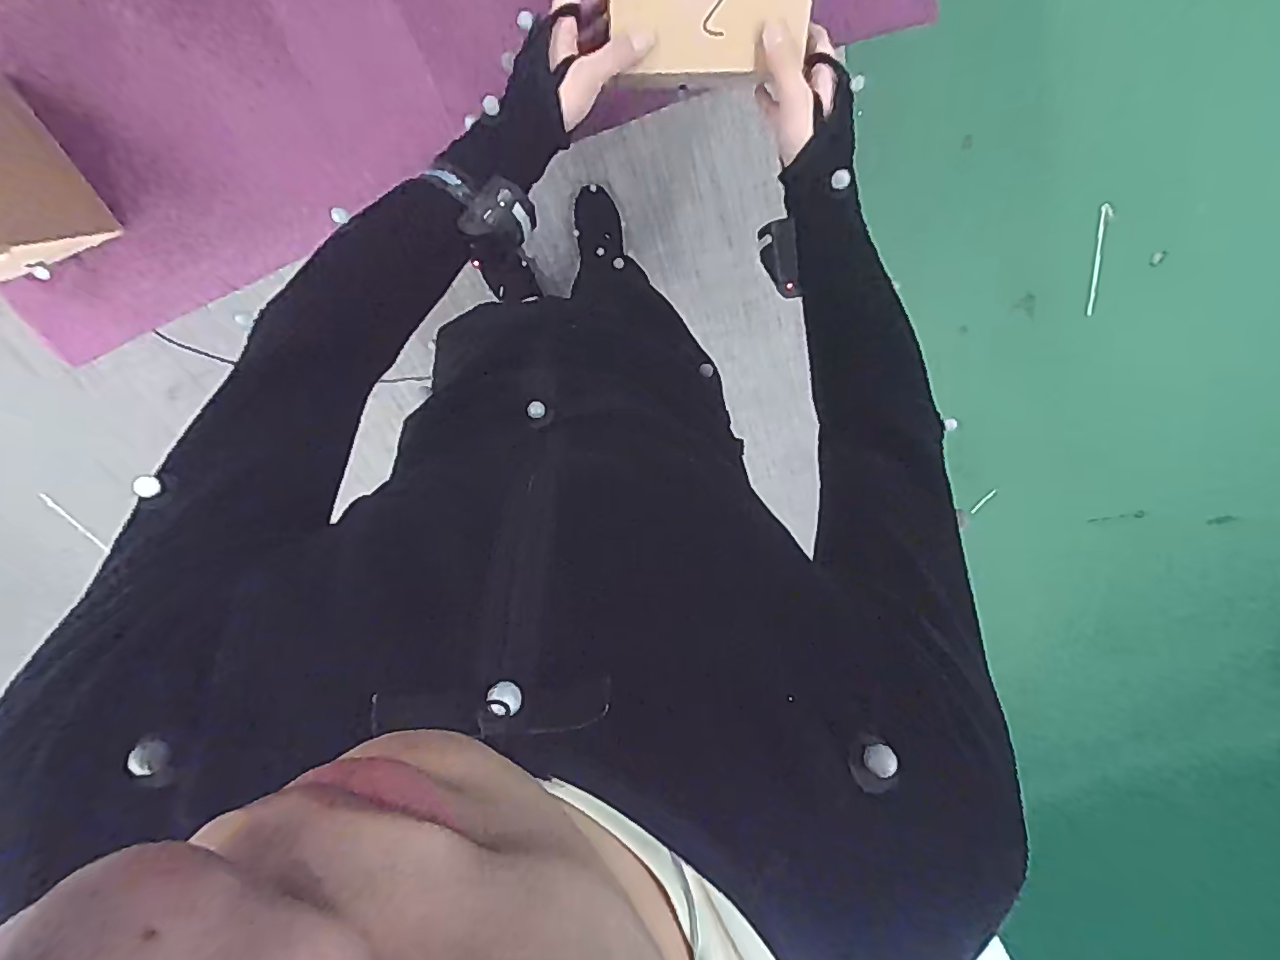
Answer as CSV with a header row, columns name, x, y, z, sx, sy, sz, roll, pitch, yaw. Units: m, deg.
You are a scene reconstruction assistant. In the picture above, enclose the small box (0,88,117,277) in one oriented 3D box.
name,x,y,z,sx,sy,sz,roll,pitch,yaw
small box,-0.748,-0.317,0.577,0.168,0.176,0.179,-18,121,6
